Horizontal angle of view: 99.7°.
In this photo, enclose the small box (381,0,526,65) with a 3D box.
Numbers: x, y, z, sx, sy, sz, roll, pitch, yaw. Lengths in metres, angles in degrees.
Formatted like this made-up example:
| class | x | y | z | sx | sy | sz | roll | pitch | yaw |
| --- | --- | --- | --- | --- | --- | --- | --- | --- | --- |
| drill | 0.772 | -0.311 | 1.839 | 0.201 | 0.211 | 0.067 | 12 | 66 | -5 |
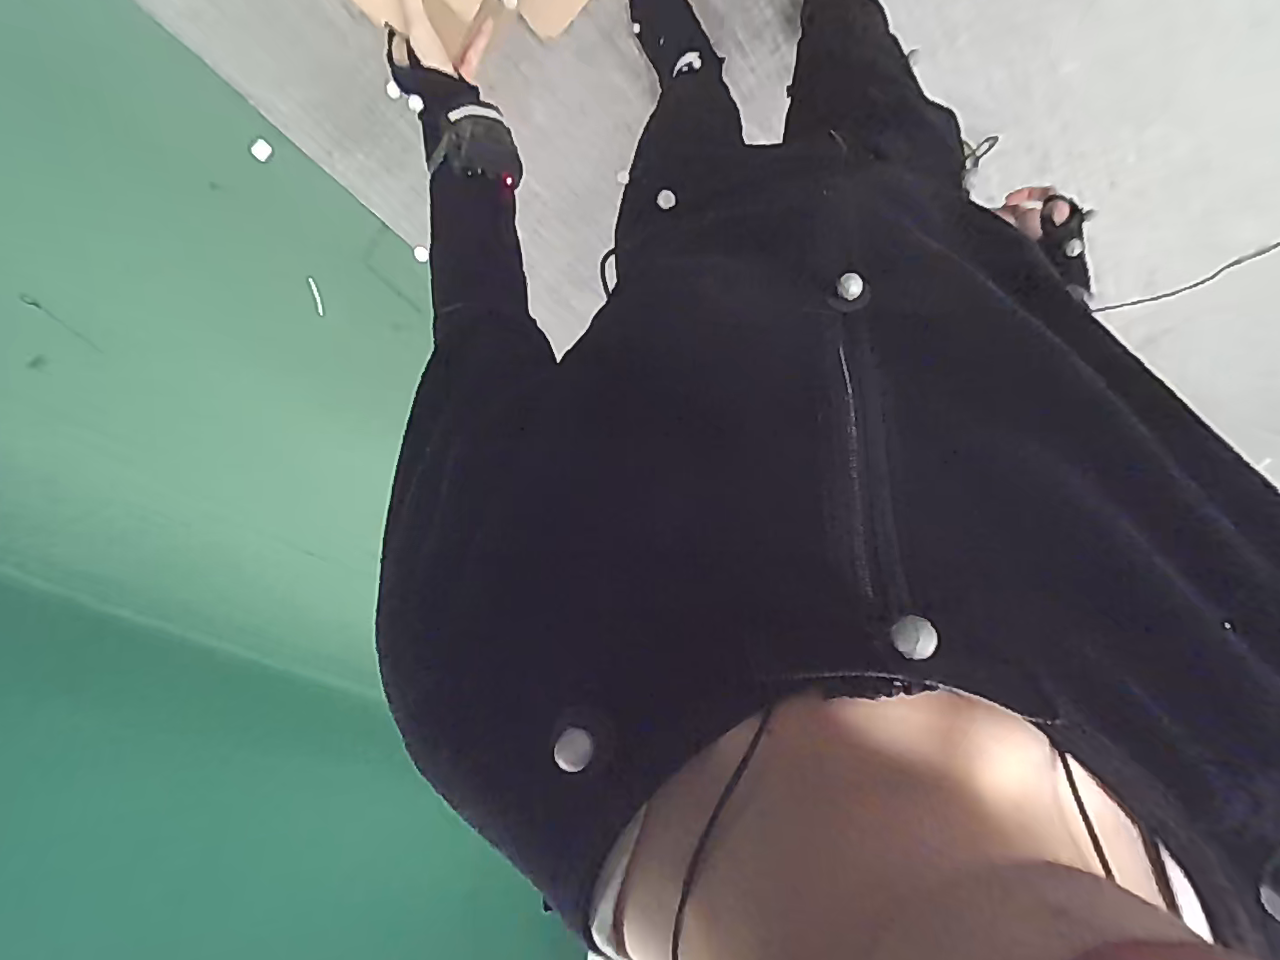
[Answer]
| class | x | y | z | sx | sy | sz | roll | pitch | yaw |
| --- | --- | --- | --- | --- | --- | --- | --- | --- | --- |
| small box | -0.163 | -0.516 | 0.464 | 0.168 | 0.176 | 0.179 | 36 | 132 | -26 |
